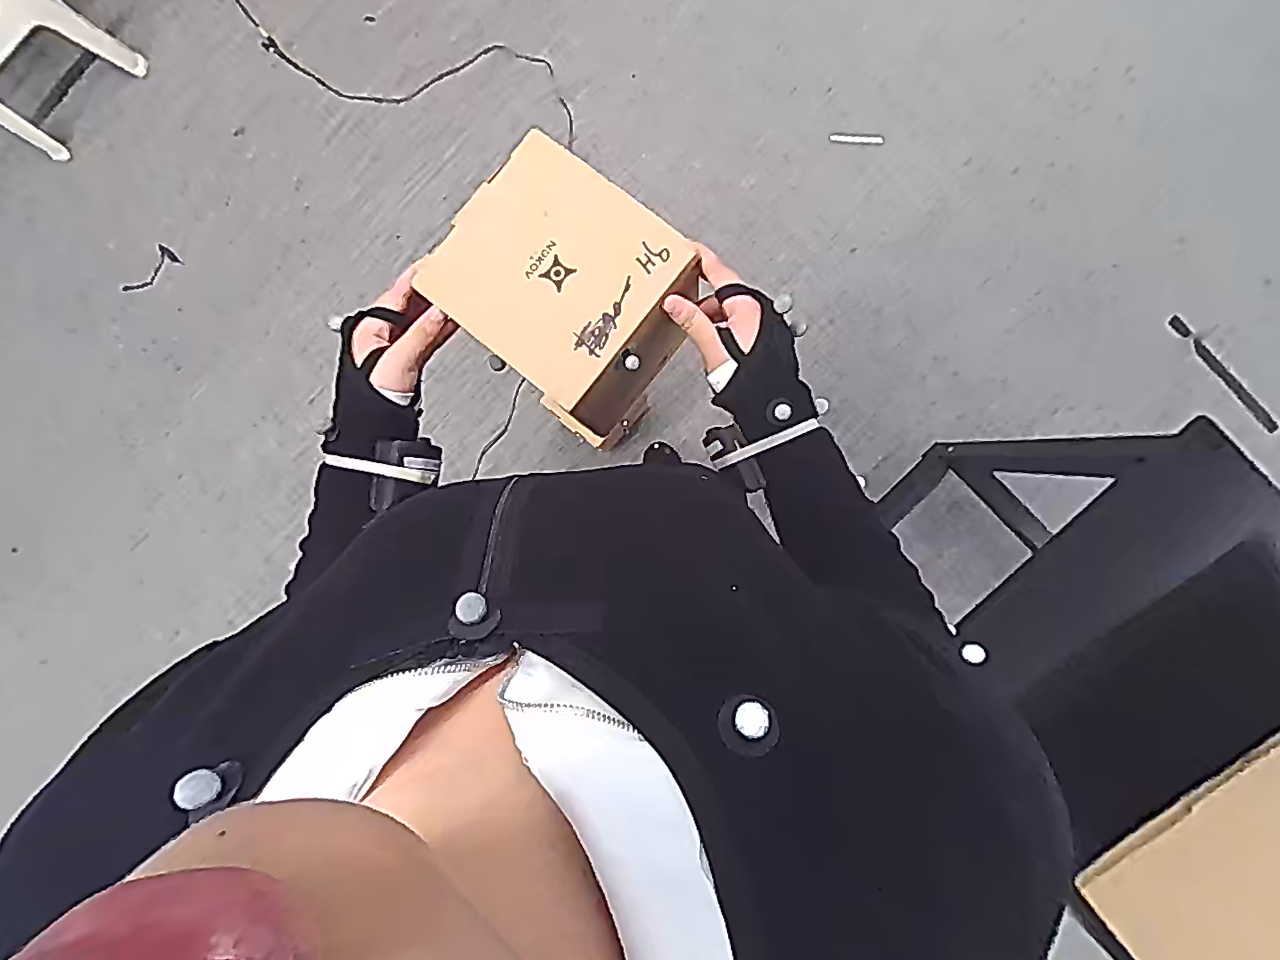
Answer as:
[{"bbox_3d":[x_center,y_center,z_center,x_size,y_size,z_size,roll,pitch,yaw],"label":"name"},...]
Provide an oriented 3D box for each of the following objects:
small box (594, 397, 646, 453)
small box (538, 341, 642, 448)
[{"bbox_3d":[-0.100,-0.189,1.415,0.168,0.176,0.179,42,94,0],"label":"small box"},{"bbox_3d":[-0.104,-0.188,1.252,0.168,0.176,0.179,39,92,0],"label":"small box"}]
